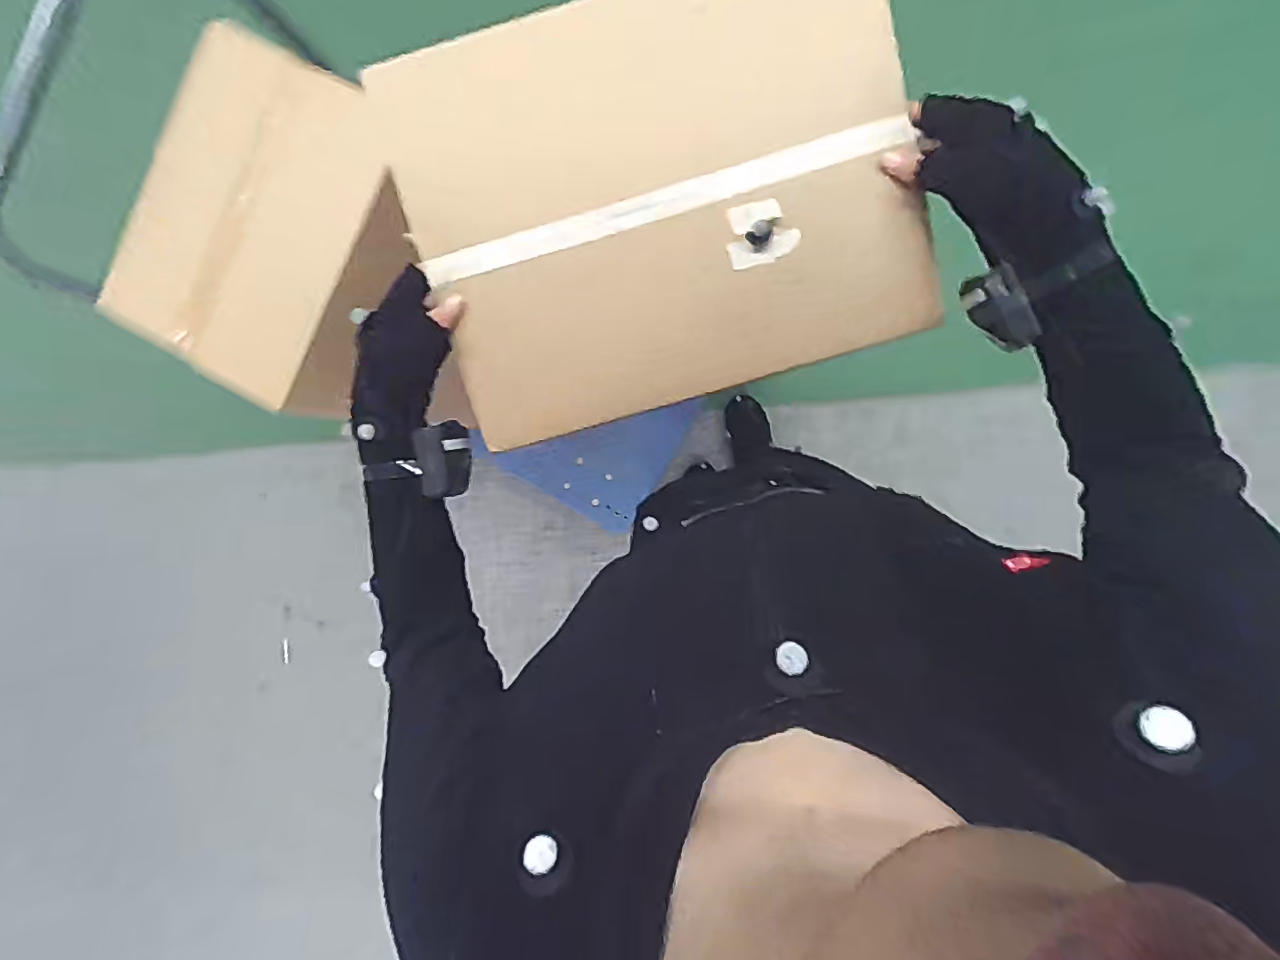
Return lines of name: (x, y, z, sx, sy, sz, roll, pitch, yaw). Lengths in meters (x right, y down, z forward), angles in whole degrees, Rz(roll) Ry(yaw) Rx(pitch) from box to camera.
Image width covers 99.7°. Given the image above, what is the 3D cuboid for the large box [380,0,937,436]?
large box: (0.019, -0.258, 0.587, 0.408, 0.320, 0.320, -15, 101, 1)
